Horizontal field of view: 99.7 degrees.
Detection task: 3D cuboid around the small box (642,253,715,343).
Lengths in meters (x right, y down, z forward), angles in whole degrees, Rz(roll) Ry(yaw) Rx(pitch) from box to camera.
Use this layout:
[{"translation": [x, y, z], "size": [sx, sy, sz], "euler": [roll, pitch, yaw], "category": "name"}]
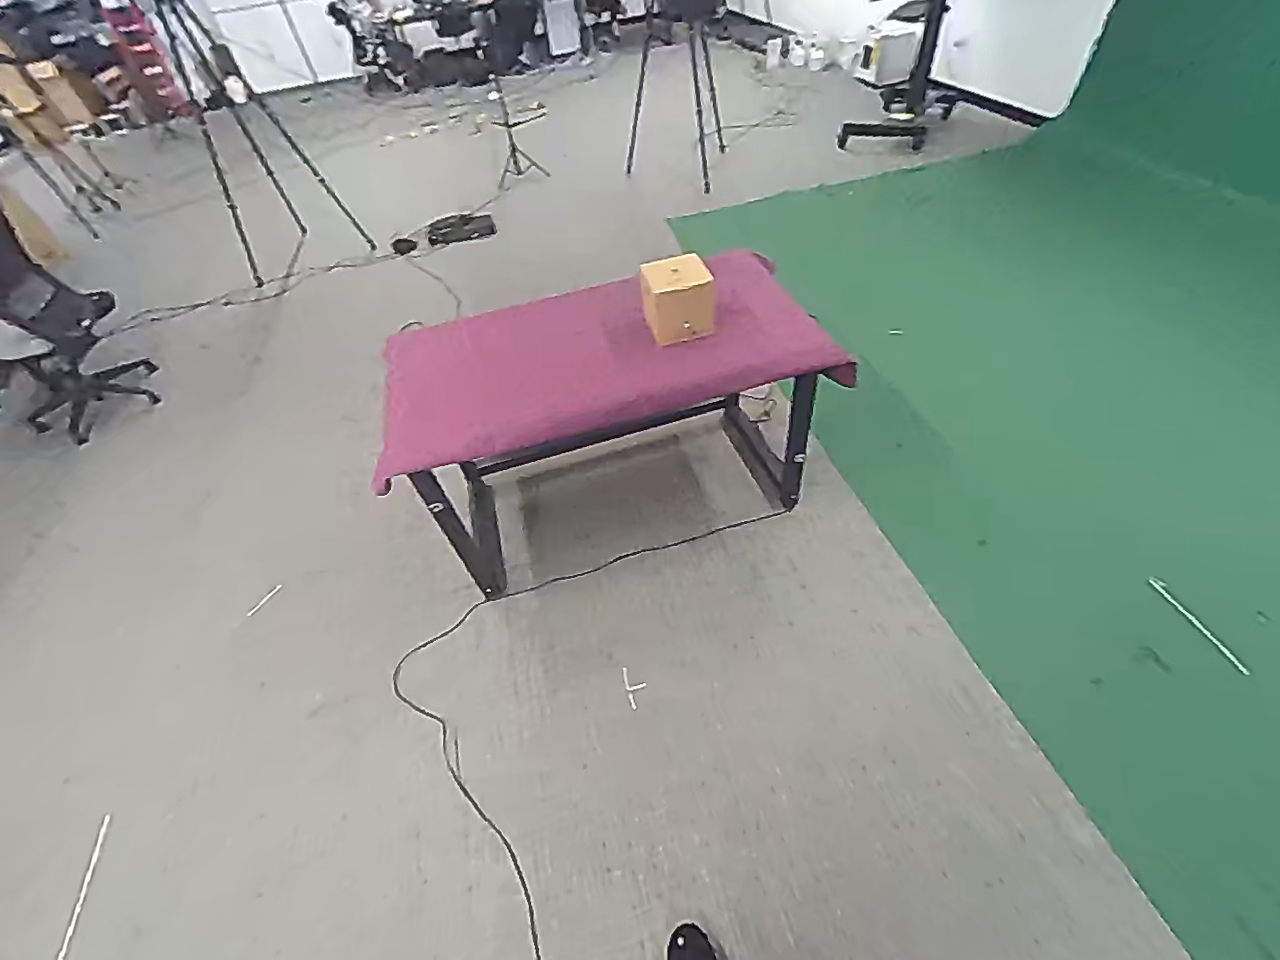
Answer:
[{"translation": [0.109, -0.517, 1.542], "size": [0.168, 0.176, 0.179], "euler": [-14, 49, -4], "category": "small box"}]
